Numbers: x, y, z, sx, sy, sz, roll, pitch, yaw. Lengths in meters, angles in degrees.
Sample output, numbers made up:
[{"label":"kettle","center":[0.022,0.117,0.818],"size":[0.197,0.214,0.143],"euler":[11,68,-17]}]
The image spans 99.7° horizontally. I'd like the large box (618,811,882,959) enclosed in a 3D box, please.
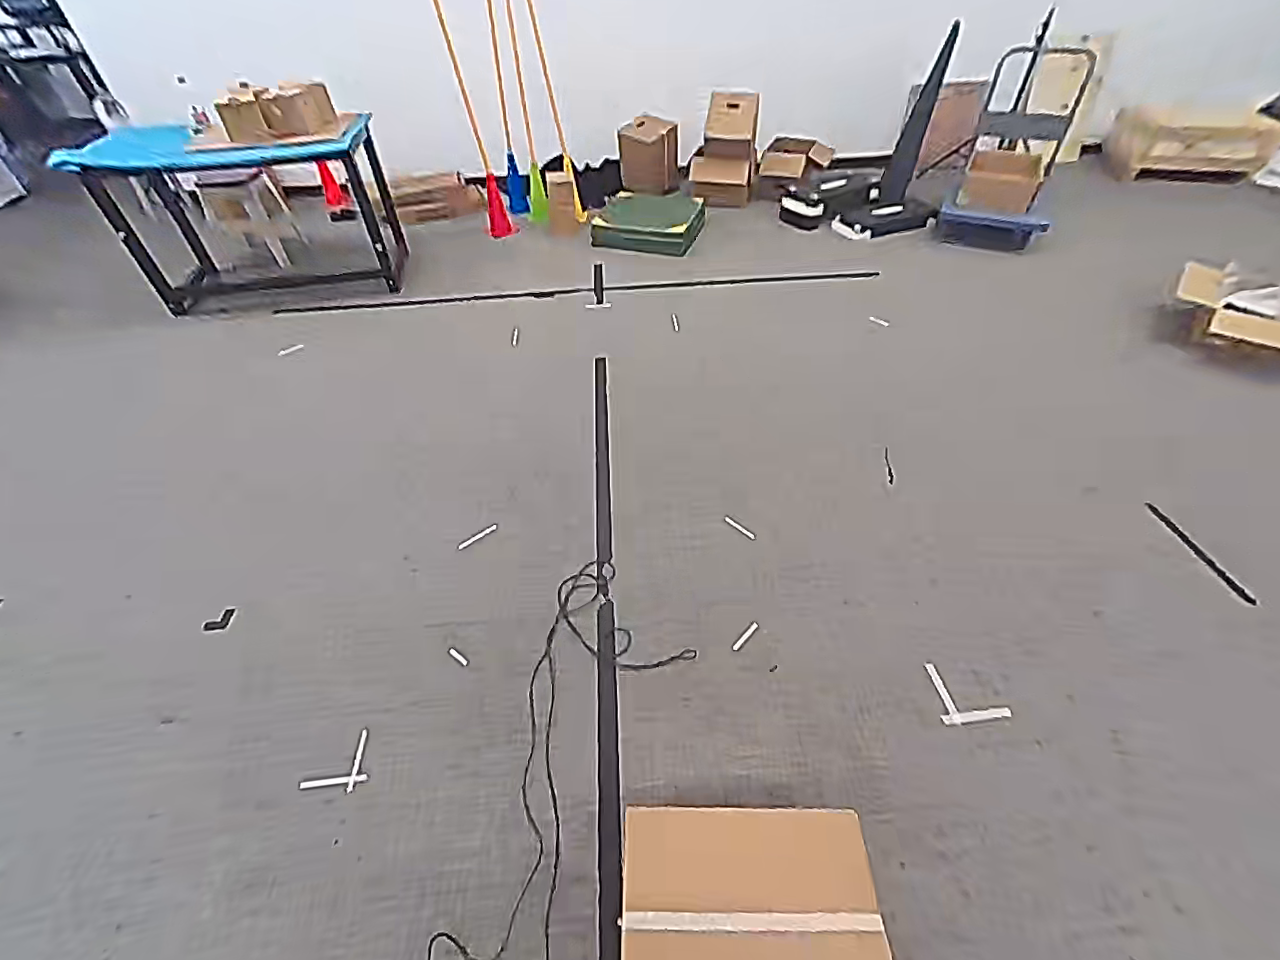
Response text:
[{"label":"large box","center":[0.169,0.799,0.948],"size":[0.408,0.320,0.320],"euler":[0,44,1]}]
